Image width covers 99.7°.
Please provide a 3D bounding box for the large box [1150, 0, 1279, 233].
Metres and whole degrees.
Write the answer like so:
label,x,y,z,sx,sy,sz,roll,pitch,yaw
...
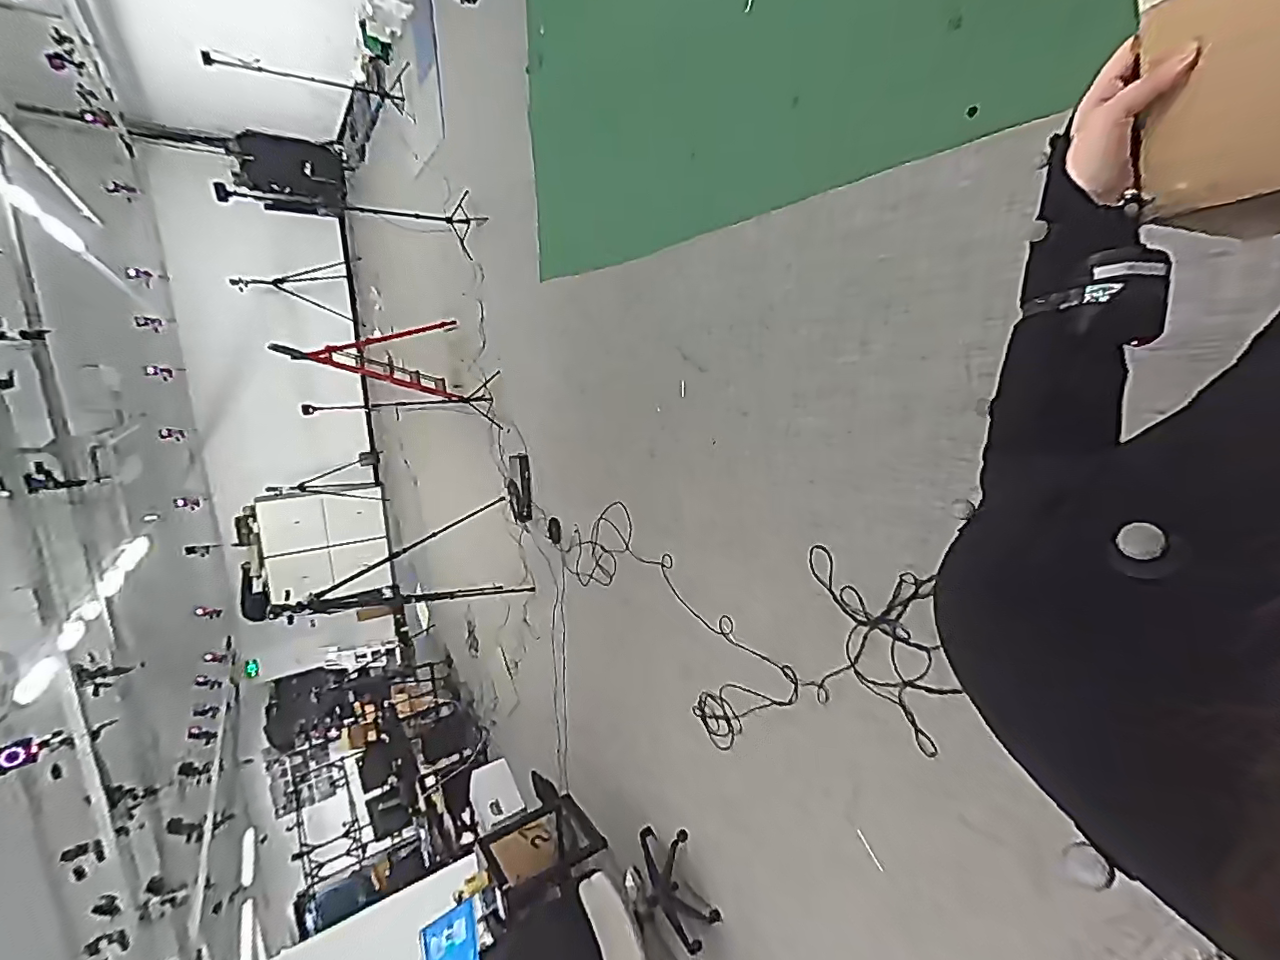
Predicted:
label,x,y,z,sx,sy,sz,roll,pitch,yaw
large box,0.611,-0.369,0.308,0.408,0.320,0.320,6,105,59
